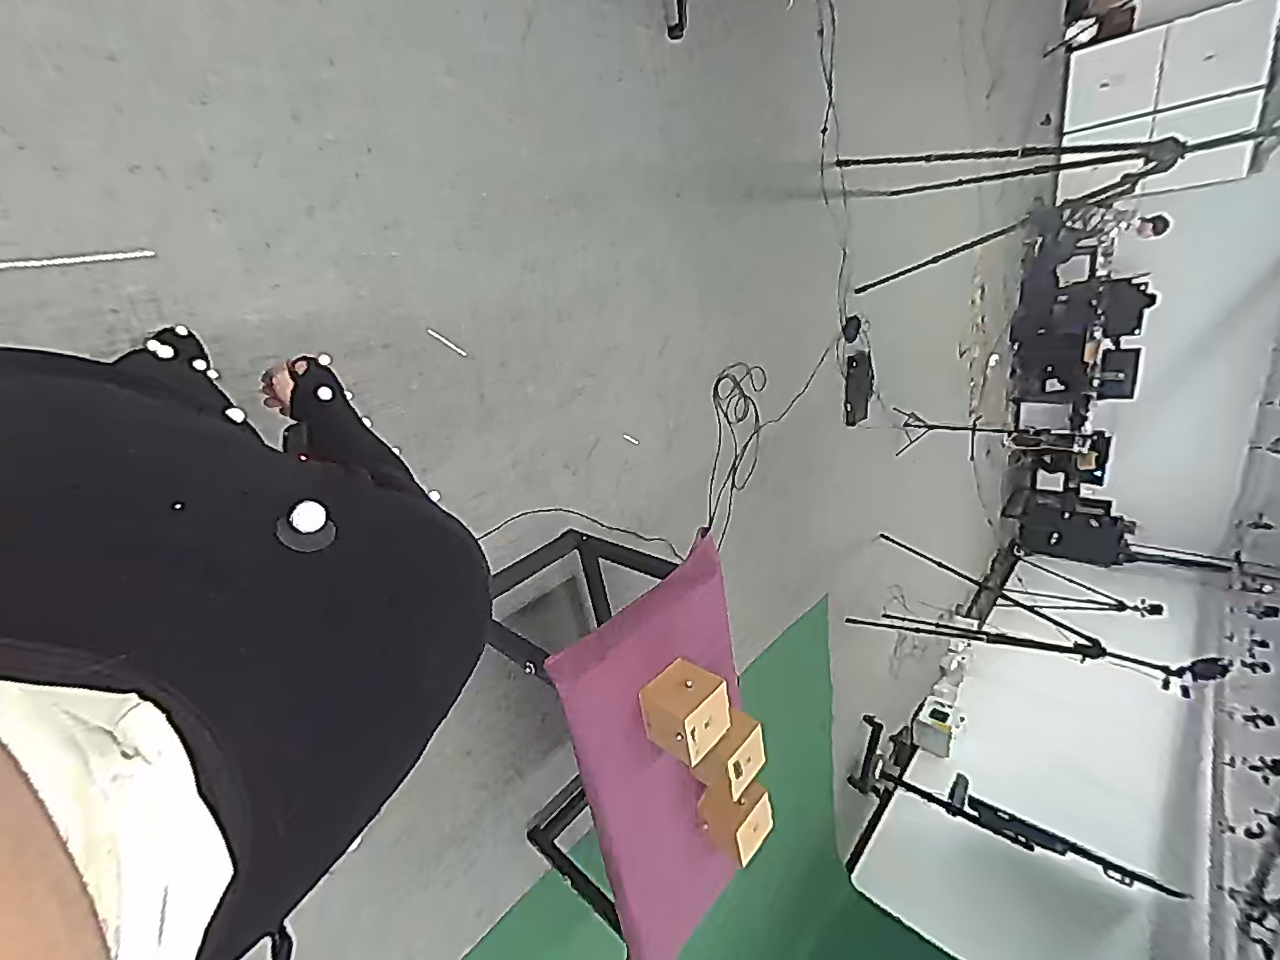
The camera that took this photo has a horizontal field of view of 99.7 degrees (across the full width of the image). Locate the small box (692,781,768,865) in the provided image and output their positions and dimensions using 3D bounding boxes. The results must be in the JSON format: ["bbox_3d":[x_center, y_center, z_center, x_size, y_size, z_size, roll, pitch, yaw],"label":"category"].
[{"bbox_3d":[0.294,1.084,1.762,0.179,0.176,0.168,-29,117,-38],"label":"small box"}]

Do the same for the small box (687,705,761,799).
[{"bbox_3d":[0.249,0.821,1.662,0.179,0.176,0.168,-29,118,-39],"label":"small box"}]

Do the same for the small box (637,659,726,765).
[{"bbox_3d":[0.115,0.626,1.485,0.179,0.176,0.168,-27,117,-40],"label":"small box"}]
